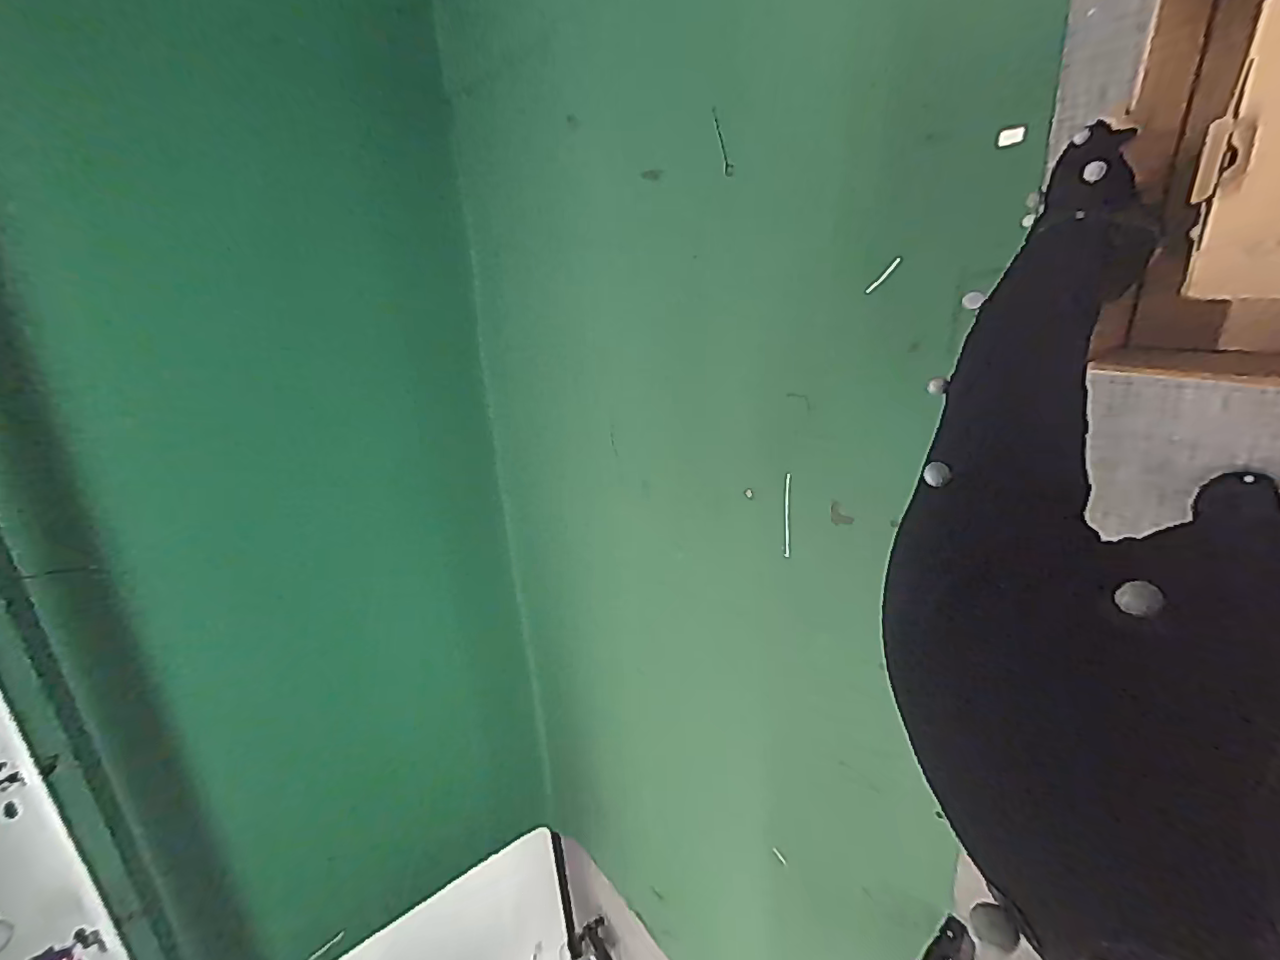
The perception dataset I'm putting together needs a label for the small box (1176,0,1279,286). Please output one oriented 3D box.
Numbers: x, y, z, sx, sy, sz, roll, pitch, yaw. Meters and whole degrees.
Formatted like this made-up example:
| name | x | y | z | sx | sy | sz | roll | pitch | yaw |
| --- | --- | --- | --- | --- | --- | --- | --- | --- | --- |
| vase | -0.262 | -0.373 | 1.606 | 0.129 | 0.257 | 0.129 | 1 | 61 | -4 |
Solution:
| name | x | y | z | sx | sy | sz | roll | pitch | yaw |
| --- | --- | --- | --- | --- | --- | --- | --- | --- | --- |
| small box | 0.477 | -0.204 | 0.323 | 0.179 | 0.176 | 0.168 | 20 | 120 | 48 |
